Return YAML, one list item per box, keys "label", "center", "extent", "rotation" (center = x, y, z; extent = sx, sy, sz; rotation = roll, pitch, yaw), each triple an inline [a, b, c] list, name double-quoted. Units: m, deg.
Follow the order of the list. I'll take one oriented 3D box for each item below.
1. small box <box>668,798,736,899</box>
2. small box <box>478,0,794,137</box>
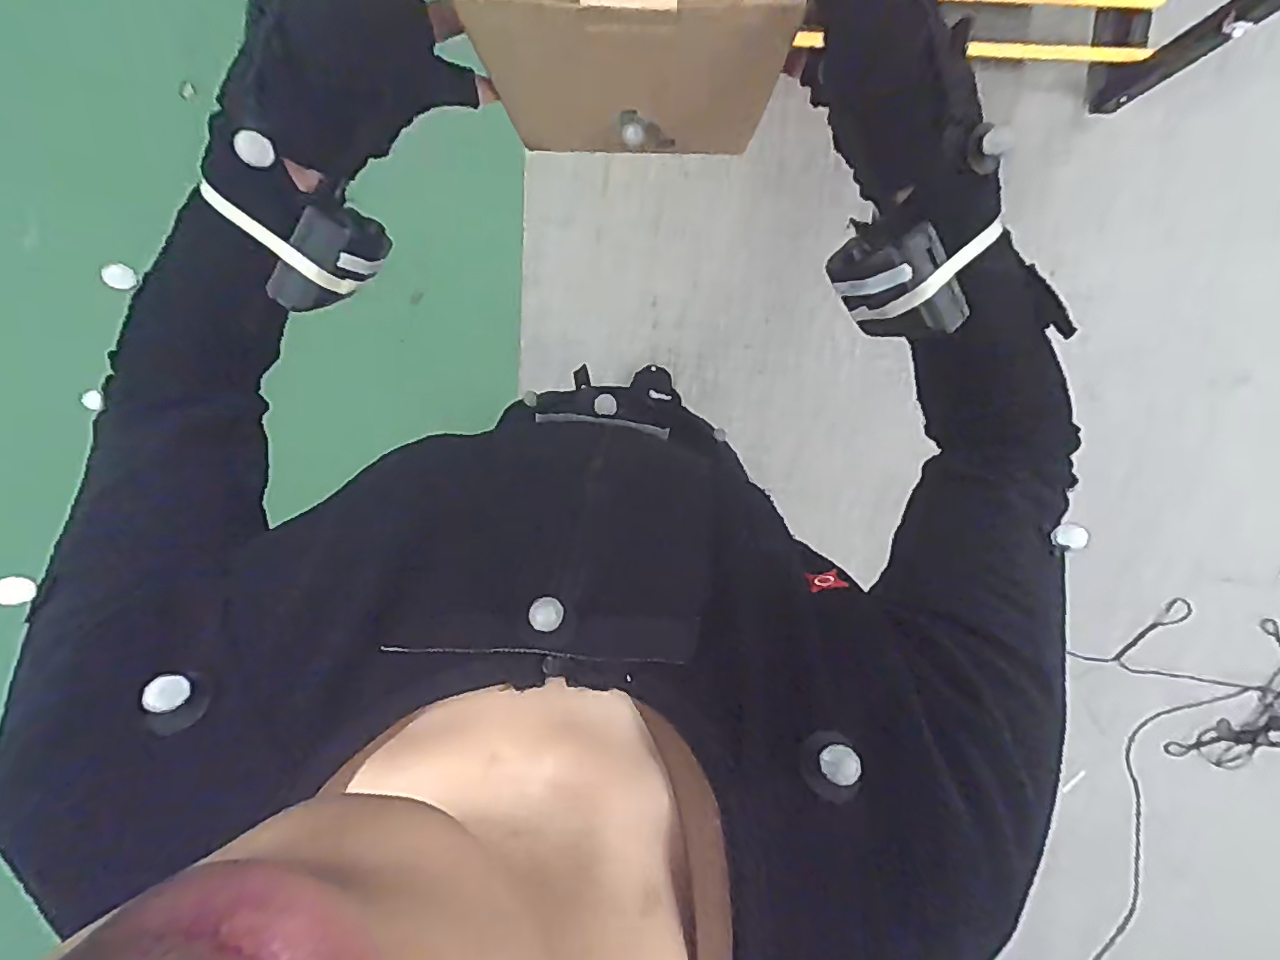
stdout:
- label: "small box"
  center: [0.171, 1.030, 1.529]
  extent: [0.168, 0.176, 0.179]
  rotation: [-5, 98, 1]
- label: "small box"
  center: [-0.004, -0.324, 0.298]
  extent: [0.168, 0.176, 0.179]
  rotation: [2, 100, 1]
